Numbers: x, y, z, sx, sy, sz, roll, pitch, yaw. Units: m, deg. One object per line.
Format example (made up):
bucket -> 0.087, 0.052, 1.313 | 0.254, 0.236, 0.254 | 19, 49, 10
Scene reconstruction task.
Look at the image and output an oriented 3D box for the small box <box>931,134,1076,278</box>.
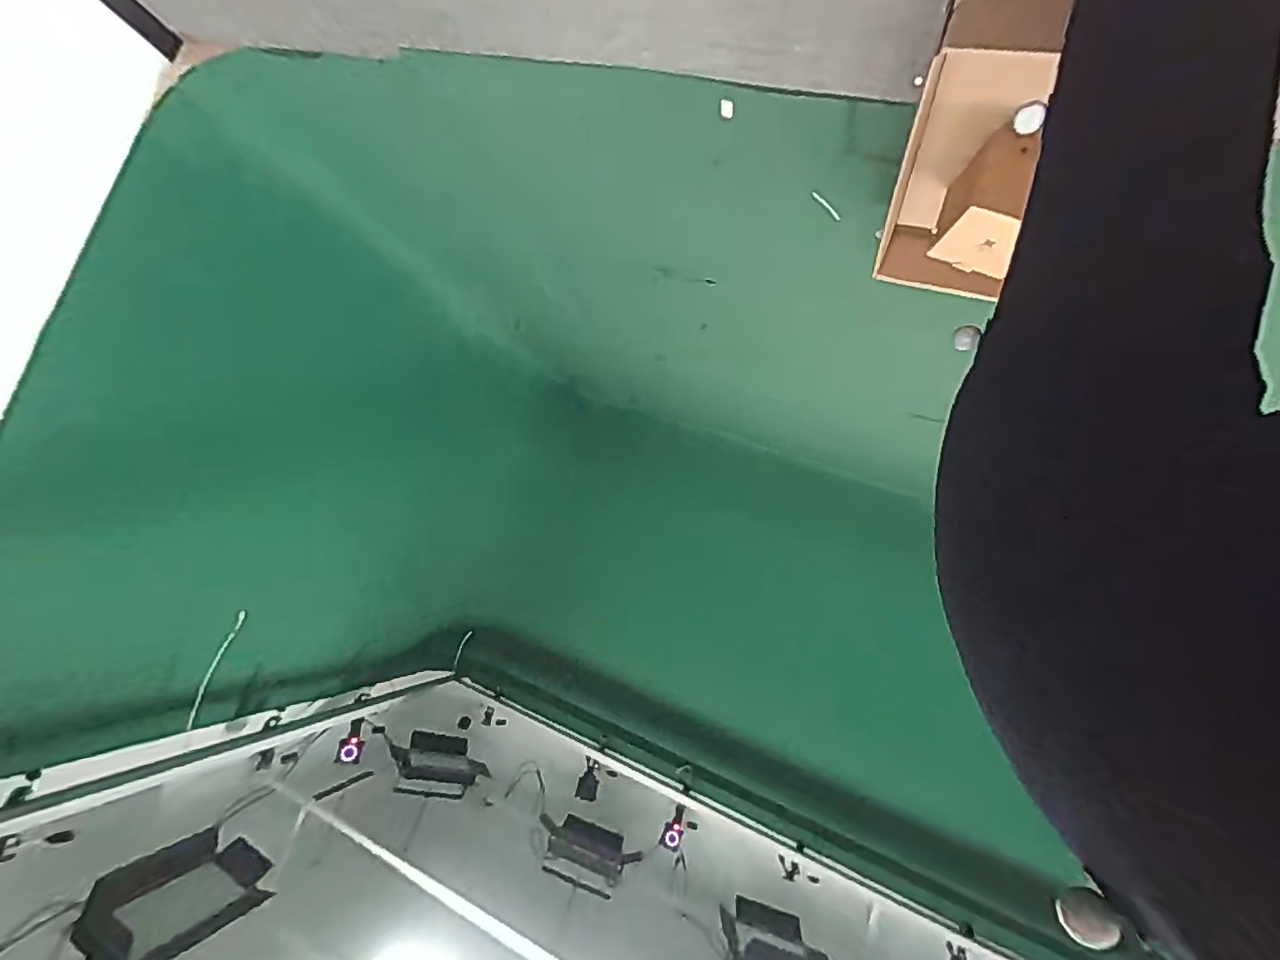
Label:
small box -> 0.725, -0.545, 1.082 | 0.168, 0.176, 0.179 | 21, 174, 5
